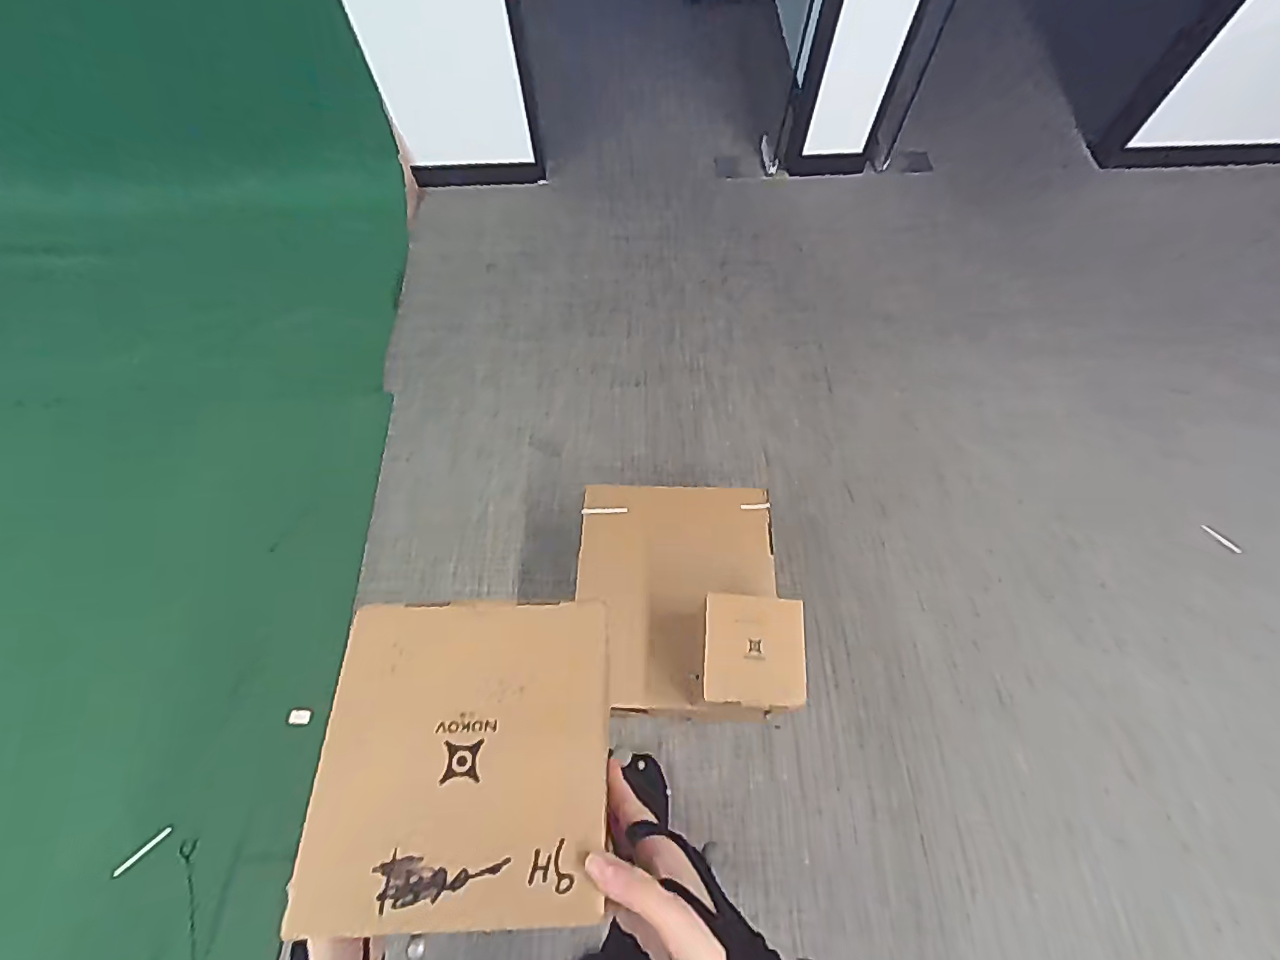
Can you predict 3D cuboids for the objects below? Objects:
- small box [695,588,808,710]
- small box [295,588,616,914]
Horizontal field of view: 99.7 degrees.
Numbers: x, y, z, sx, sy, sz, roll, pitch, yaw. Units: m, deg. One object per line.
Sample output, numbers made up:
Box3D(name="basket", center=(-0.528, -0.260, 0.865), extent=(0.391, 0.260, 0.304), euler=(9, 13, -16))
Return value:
Box3D(name="small box", center=(0.189, 0.302, 0.949), extent=(0.168, 0.176, 0.179), euler=(5, 64, 1))
Box3D(name="small box", center=(-0.103, 0.191, 0.394), extent=(0.168, 0.176, 0.179), euler=(-1, 59, -2))
